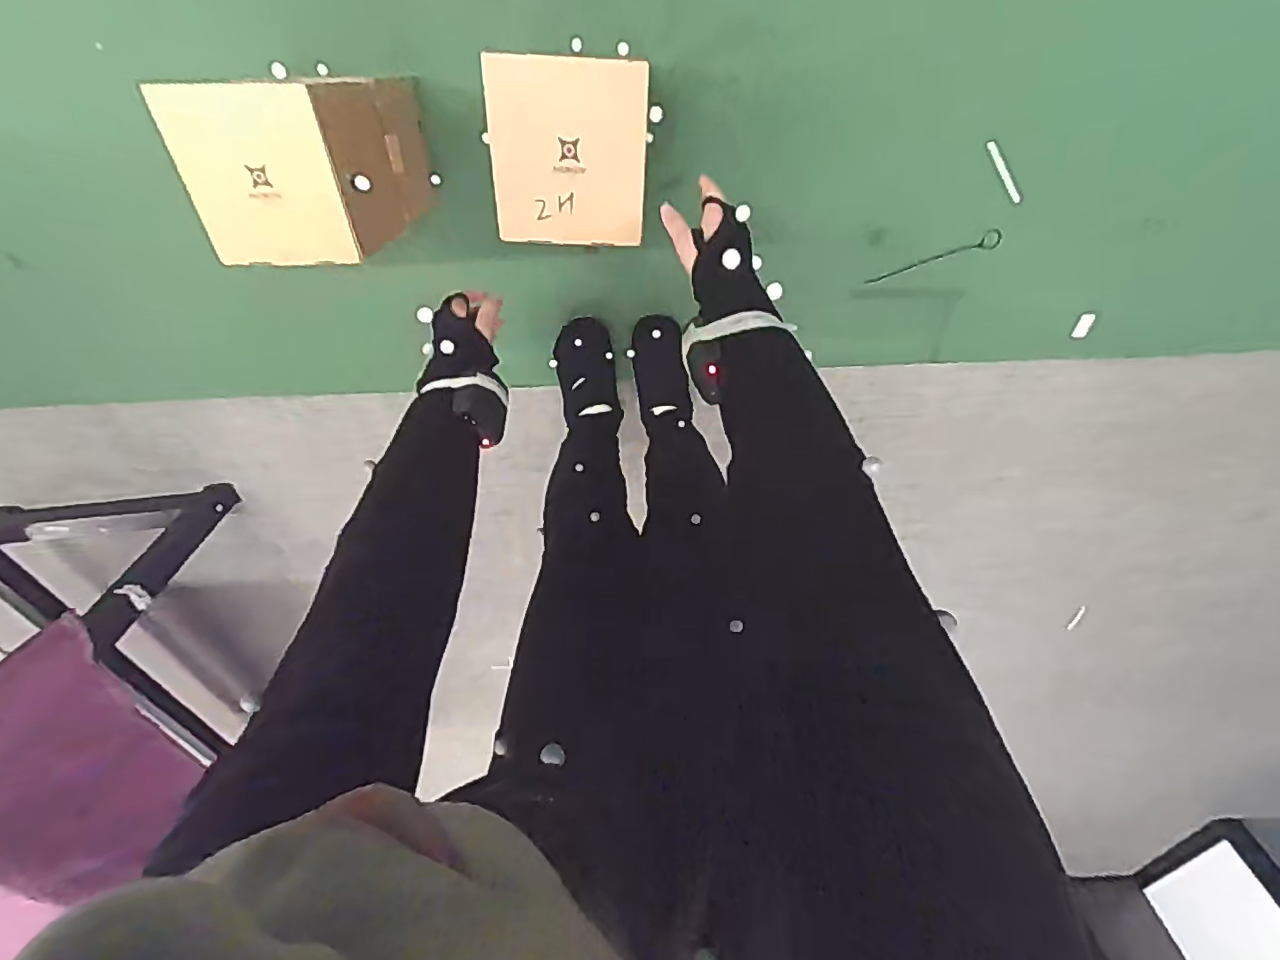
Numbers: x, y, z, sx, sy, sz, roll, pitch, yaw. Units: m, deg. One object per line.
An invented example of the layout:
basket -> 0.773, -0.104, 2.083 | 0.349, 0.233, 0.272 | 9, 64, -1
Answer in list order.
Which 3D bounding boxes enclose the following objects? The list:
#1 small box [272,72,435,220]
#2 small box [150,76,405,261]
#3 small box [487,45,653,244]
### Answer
small box -> -0.411, -0.481, 0.776 | 0.179, 0.176, 0.168 | 0, 128, 0
small box -> -0.408, -0.377, 0.650 | 0.168, 0.176, 0.179 | 0, 128, 0
small box -> -0.075, -0.396, 0.638 | 0.168, 0.176, 0.179 | 2, 129, -2
